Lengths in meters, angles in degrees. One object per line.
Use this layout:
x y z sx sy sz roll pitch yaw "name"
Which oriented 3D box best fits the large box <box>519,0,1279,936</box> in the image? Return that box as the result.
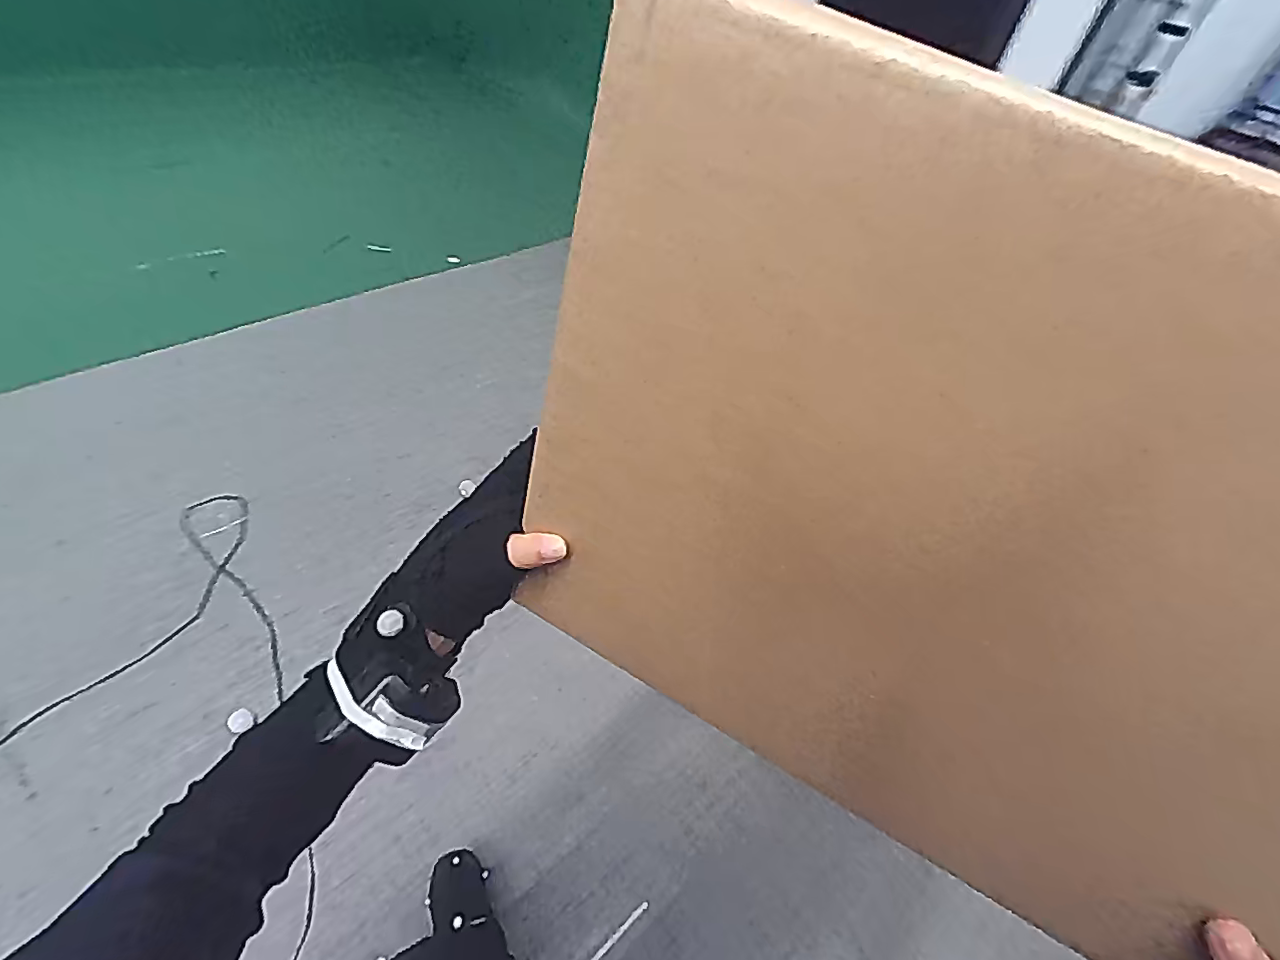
0.191 -0.022 0.338 0.408 0.320 0.320 29 42 8 "large box"
